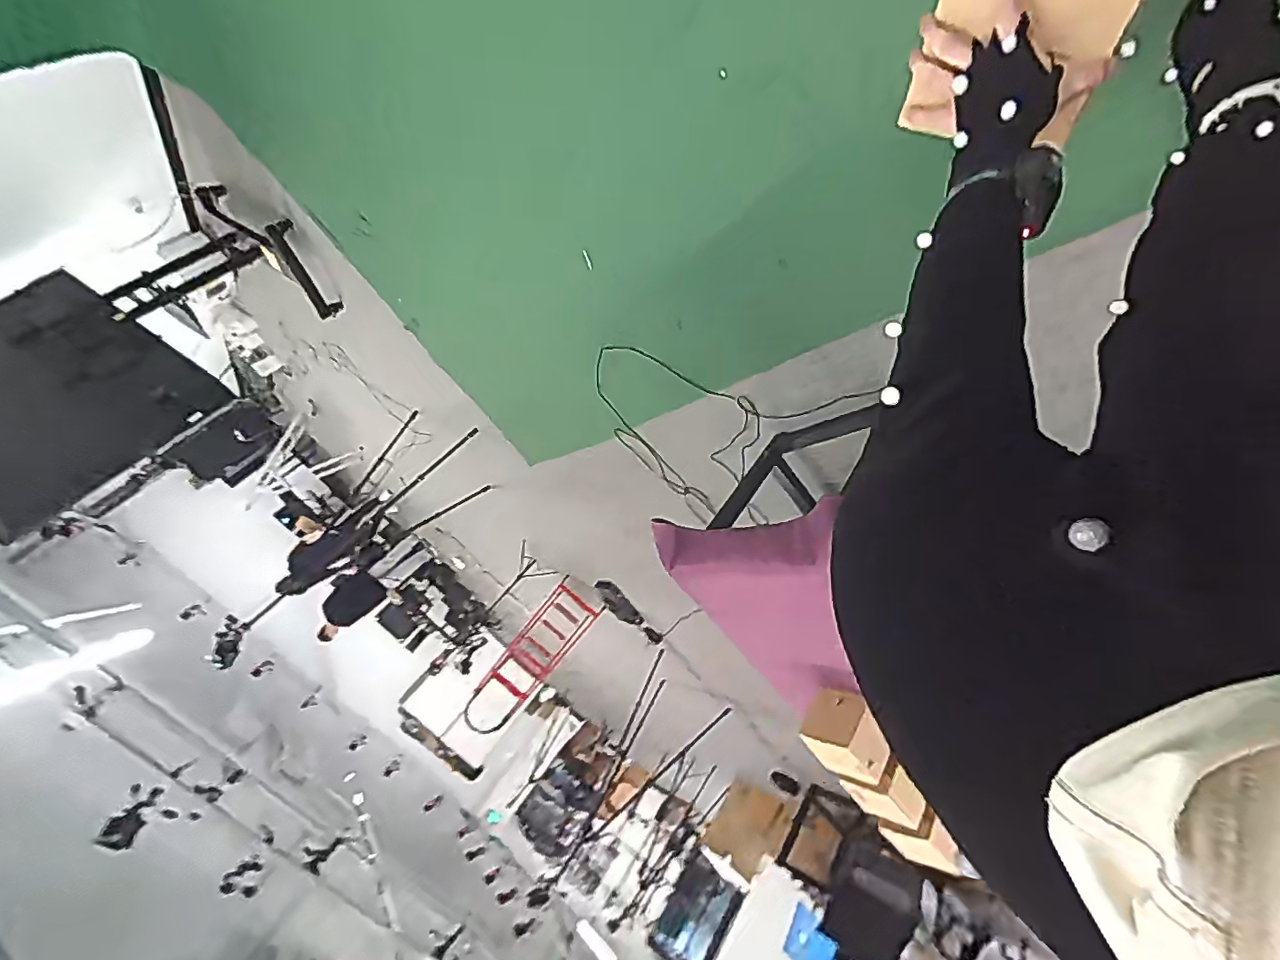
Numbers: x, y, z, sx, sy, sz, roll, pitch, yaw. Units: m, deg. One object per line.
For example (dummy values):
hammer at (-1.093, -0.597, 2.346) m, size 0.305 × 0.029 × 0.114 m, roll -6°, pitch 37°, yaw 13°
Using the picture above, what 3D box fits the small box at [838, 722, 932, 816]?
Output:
small box at (0.747, 0.867, 1.643) m, size 0.168 × 0.176 × 0.179 m, roll 49°, pitch 150°, yaw -14°

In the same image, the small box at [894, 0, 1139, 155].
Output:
small box at (0.422, -0.492, 0.598) m, size 0.179 × 0.176 × 0.168 m, roll 29°, pitch 146°, yaw 21°

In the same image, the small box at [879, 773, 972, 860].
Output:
small box at (0.897, 1.032, 1.693) m, size 0.168 × 0.176 × 0.179 m, roll 46°, pitch 151°, yaw -11°
